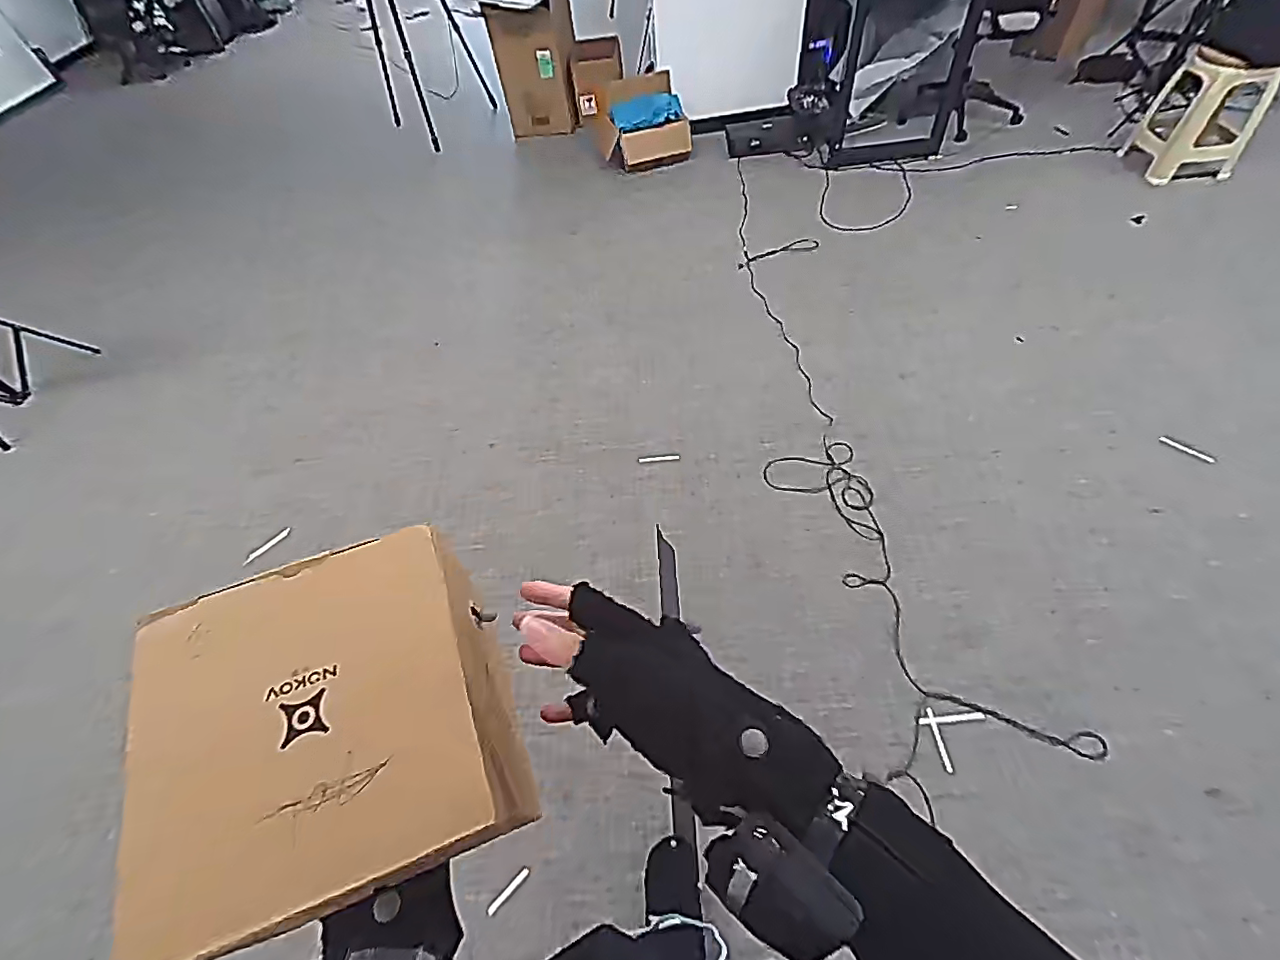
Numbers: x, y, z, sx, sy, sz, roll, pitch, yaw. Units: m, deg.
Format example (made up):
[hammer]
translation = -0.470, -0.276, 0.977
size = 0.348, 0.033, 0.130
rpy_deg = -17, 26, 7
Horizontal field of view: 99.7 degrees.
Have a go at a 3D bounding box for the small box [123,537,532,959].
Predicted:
[small box]
translation = -0.181, 0.169, 0.364
size = 0.168, 0.176, 0.179
rpy_deg = -17, 60, -11
